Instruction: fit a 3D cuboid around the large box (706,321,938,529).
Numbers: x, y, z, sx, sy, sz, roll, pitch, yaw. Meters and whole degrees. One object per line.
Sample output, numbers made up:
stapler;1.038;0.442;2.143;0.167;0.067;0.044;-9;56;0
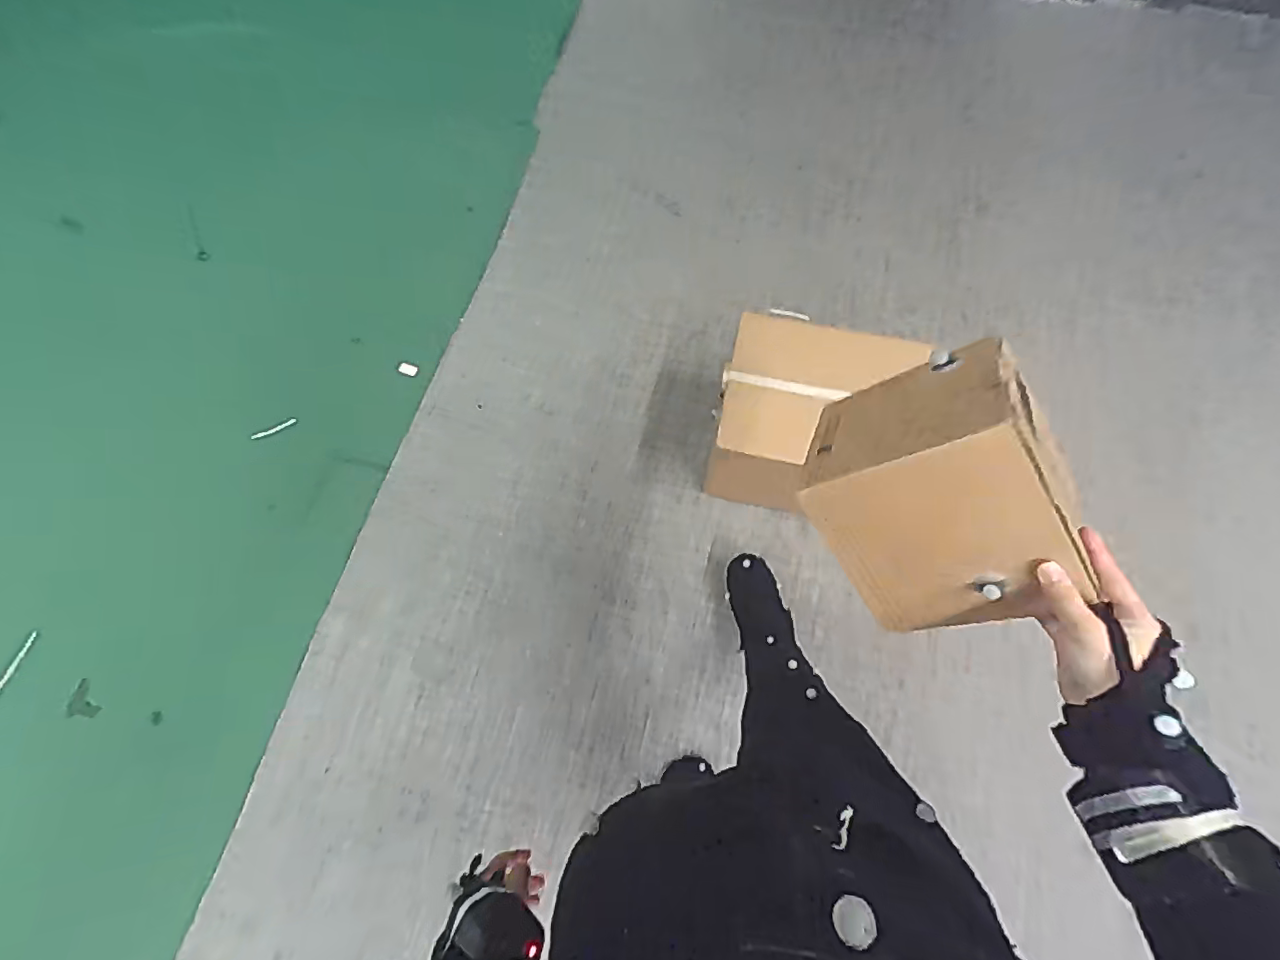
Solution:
large box;0.378;-0.108;1.202;0.408;0.320;0.320;12;73;5
